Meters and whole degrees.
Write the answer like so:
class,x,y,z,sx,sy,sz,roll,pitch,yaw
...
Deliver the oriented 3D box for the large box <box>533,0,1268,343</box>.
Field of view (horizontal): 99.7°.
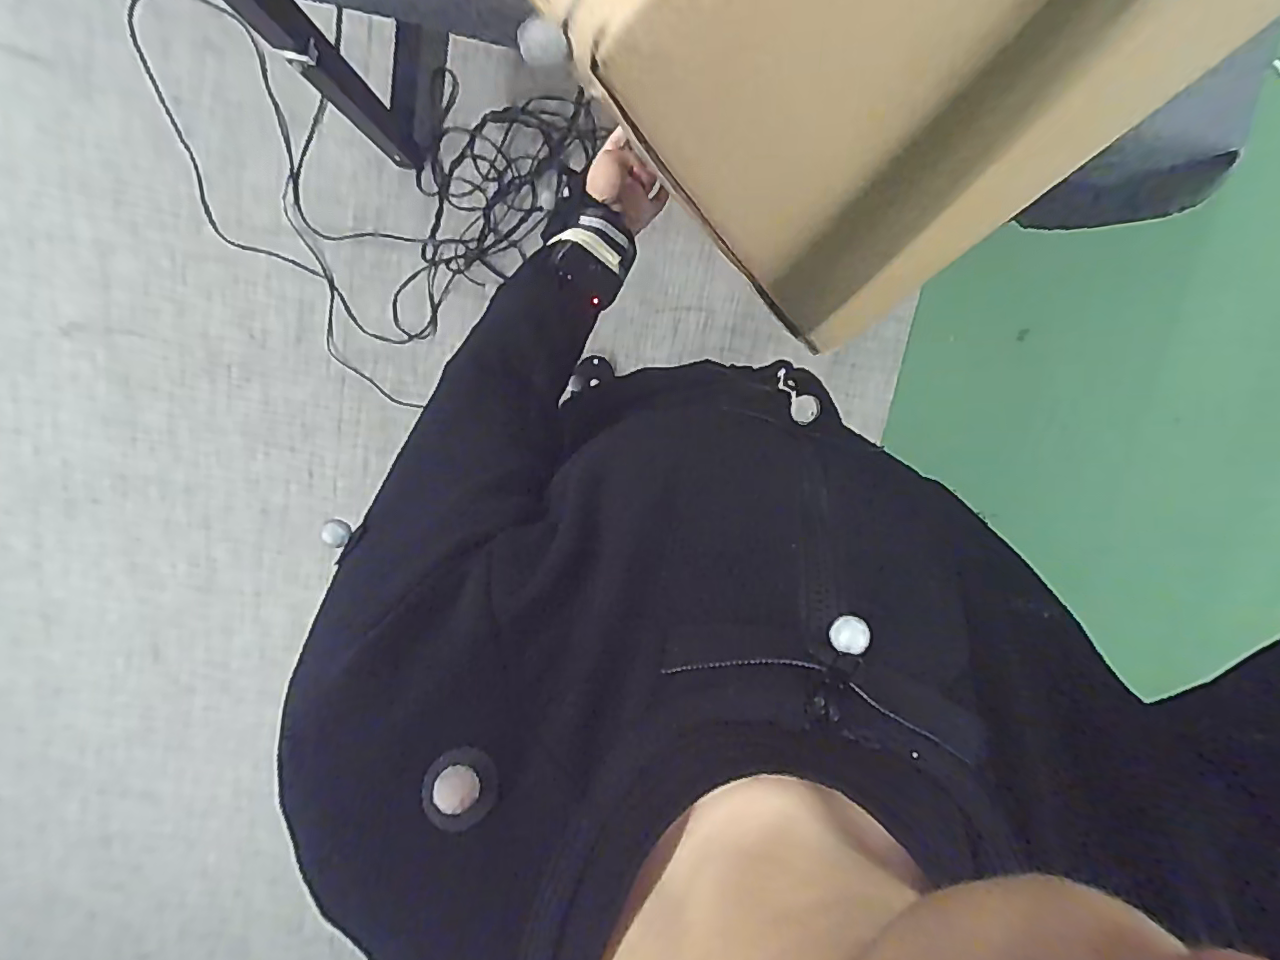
class,x,y,z,sx,sy,sz,roll,pitch,yaw
large box,0.147,-0.348,0.275,0.408,0.320,0.320,-40,67,23
